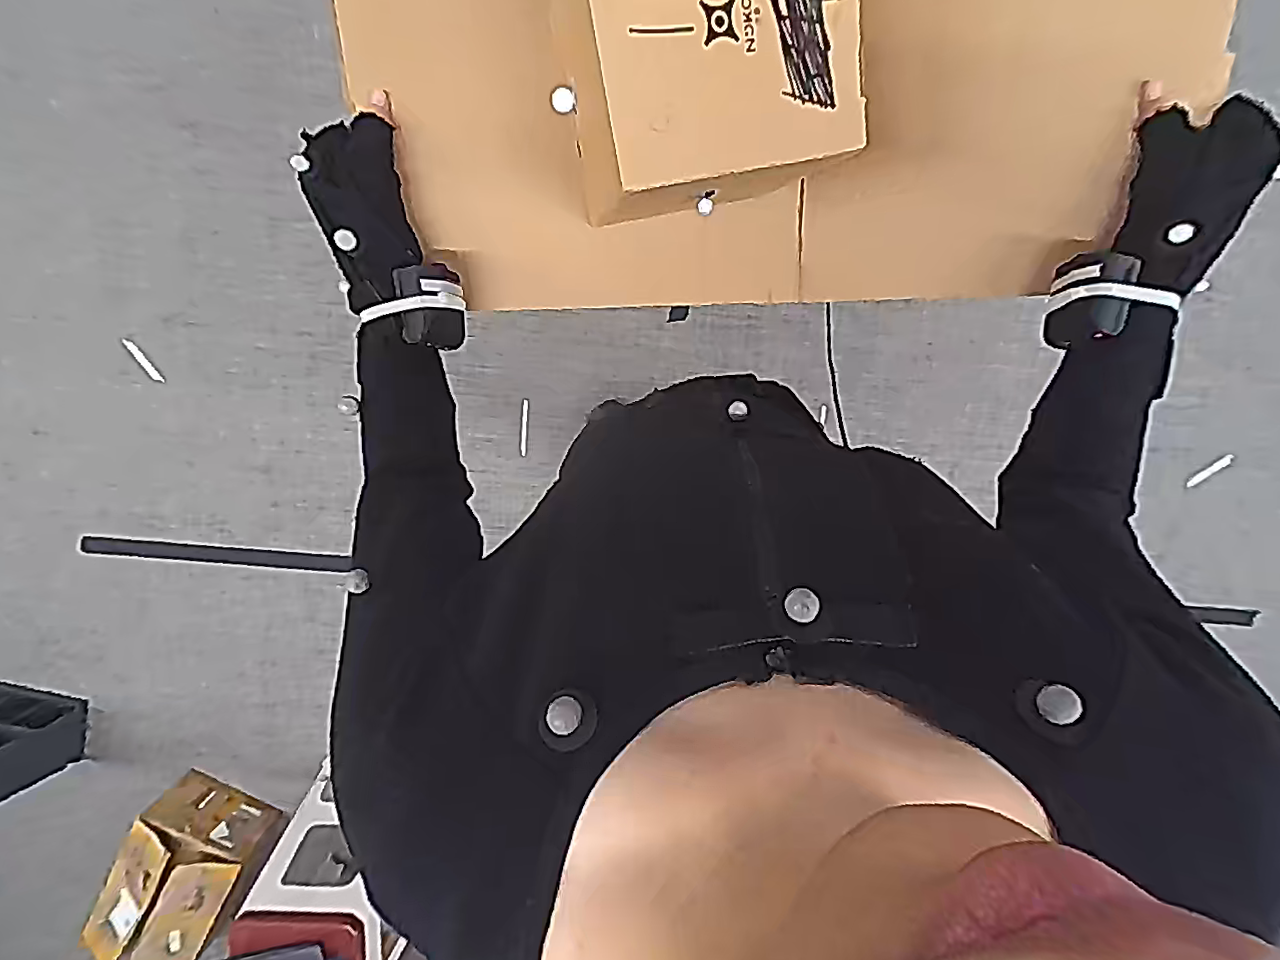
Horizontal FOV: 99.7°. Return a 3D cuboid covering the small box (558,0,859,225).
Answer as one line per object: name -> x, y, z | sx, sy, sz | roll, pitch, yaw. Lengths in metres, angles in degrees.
small box -> 0.043, -0.308, 0.418 | 0.179, 0.176, 0.168 | -14, 109, -8
